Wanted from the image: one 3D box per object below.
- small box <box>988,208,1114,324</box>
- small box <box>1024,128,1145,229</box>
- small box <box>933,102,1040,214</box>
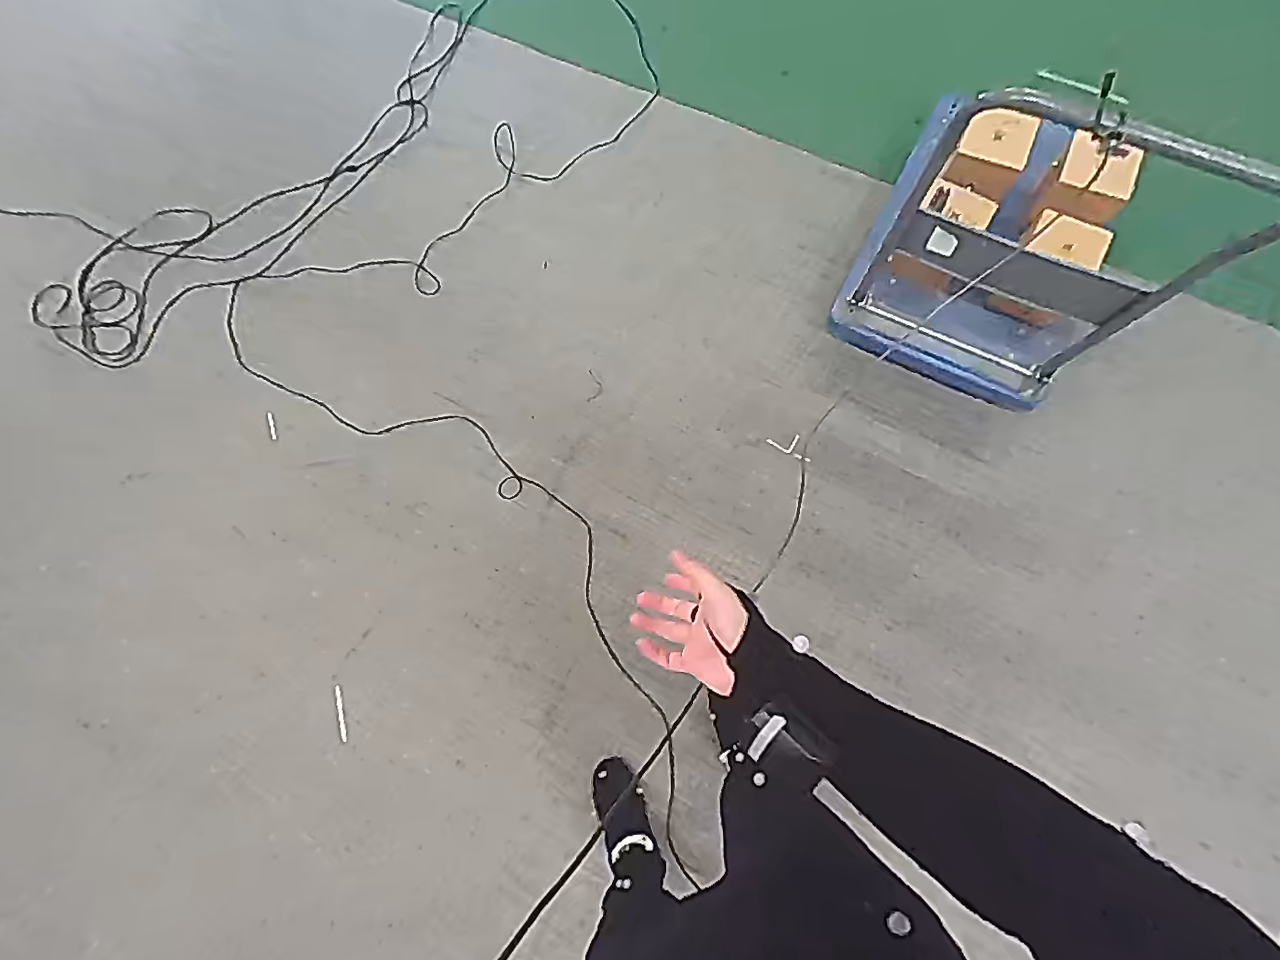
[{"bbox_3d":[1.021,-0.532,1.359,0.168,0.176,0.179,28,79,11],"label":"small box"},{"bbox_3d":[1.150,-0.763,1.413,0.168,0.176,0.179,23,78,11],"label":"small box"},{"bbox_3d":[0.922,-0.859,1.456,0.168,0.176,0.179,24,78,9],"label":"small box"}]
